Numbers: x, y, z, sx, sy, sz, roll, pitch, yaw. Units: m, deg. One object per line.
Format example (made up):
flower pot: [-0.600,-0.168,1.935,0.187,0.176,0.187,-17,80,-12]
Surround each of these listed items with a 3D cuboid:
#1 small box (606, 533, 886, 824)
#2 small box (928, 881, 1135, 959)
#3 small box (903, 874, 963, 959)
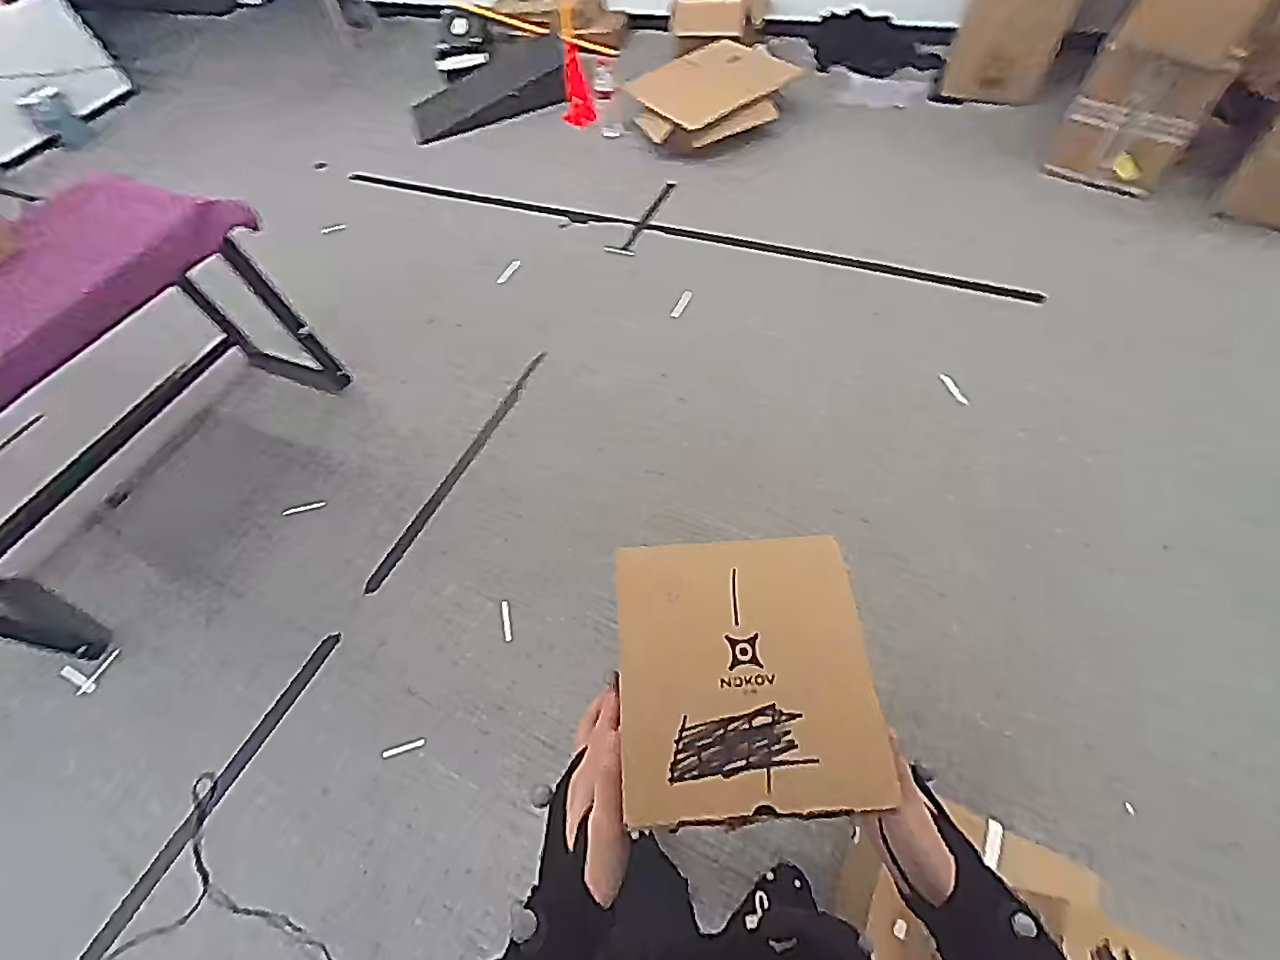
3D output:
small box: [0.064,0.158,0.428,0.168,0.176,0.179,-4,61,-1]
small box: [0.466,0.610,0.642,0.179,0.176,0.168,18,63,20]
small box: [0.492,0.701,0.773,0.168,0.176,0.179,18,63,20]
